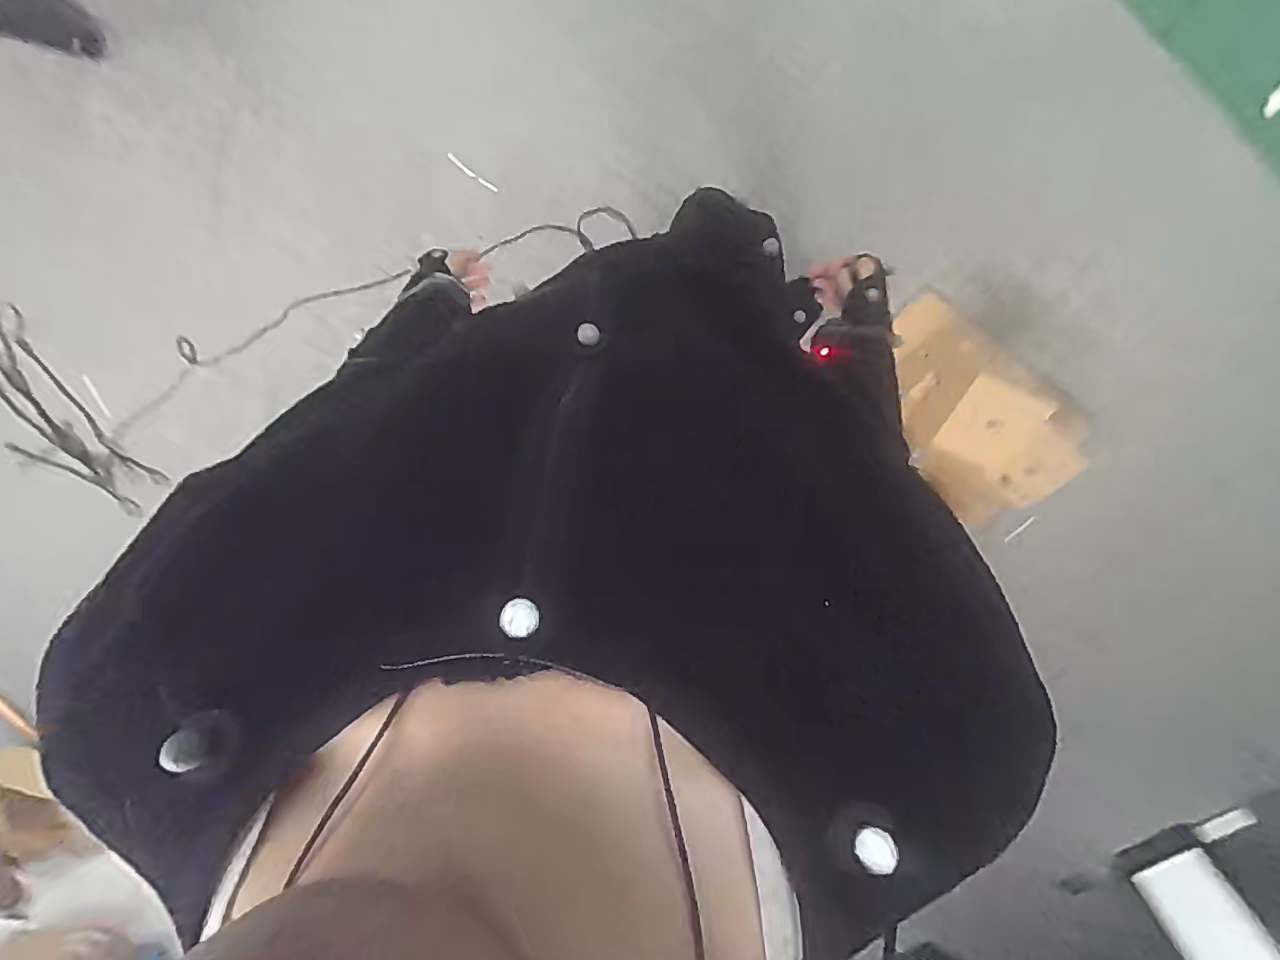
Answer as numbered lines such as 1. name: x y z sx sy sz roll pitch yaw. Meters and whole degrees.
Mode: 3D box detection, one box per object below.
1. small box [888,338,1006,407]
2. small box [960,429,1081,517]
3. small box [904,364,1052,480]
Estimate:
1. small box: 0.734 -0.223 1.303 0.179 0.176 0.168 39 115 -13
2. small box: 0.939 -0.047 1.365 0.168 0.176 0.179 41 113 -13
3. small box: 0.715 -0.132 1.167 0.179 0.176 0.168 23 115 -5
